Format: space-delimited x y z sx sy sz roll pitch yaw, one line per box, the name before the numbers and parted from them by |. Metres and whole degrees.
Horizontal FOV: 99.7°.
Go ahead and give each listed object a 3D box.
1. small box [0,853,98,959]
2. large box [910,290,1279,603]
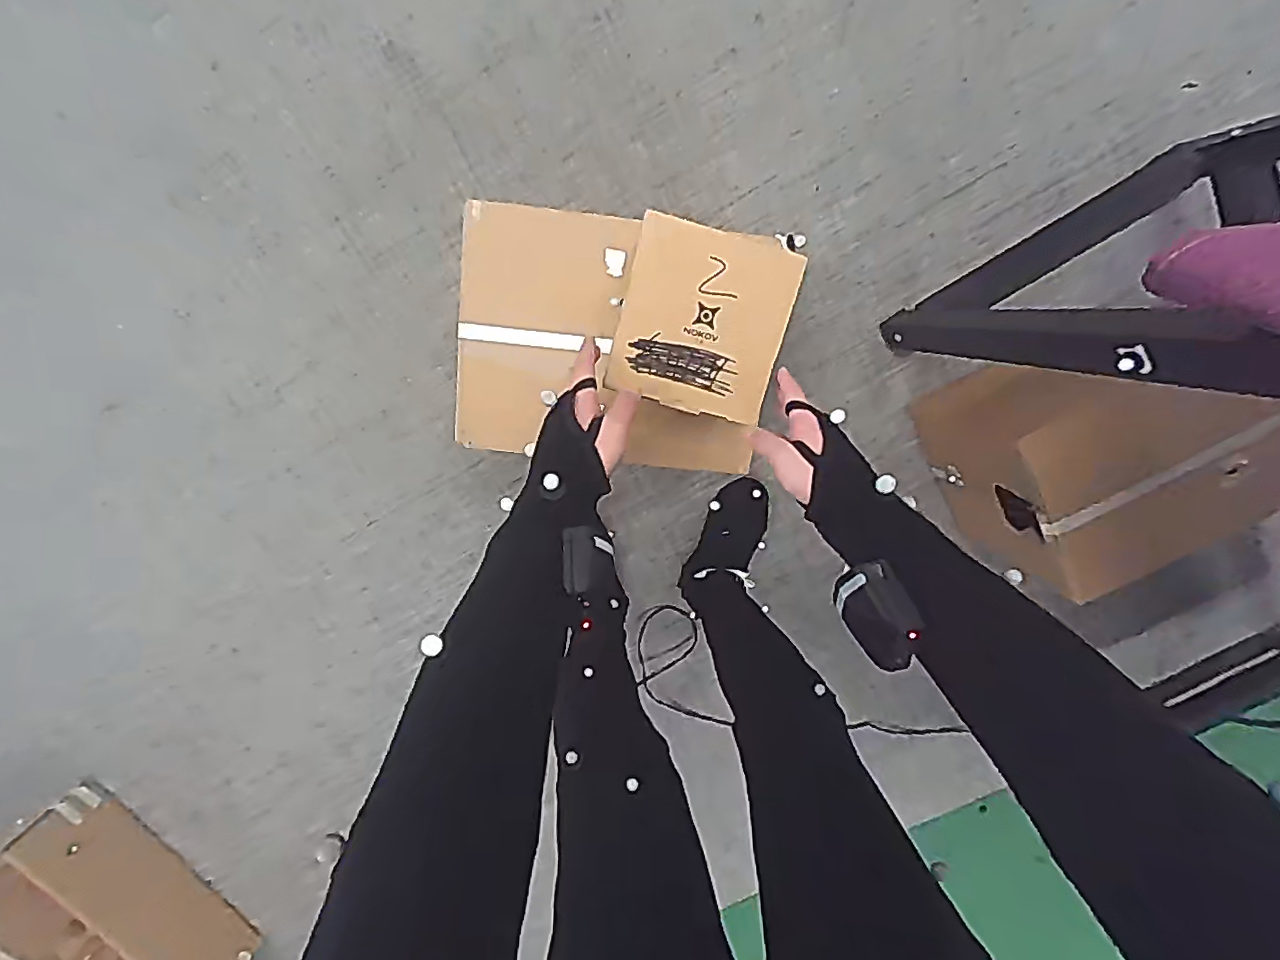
small box | -1.363 0.951 1.168 0.168 0.176 0.179 -32 106 7
large box | 0.765 -0.071 0.914 0.408 0.320 0.320 -30 106 6
